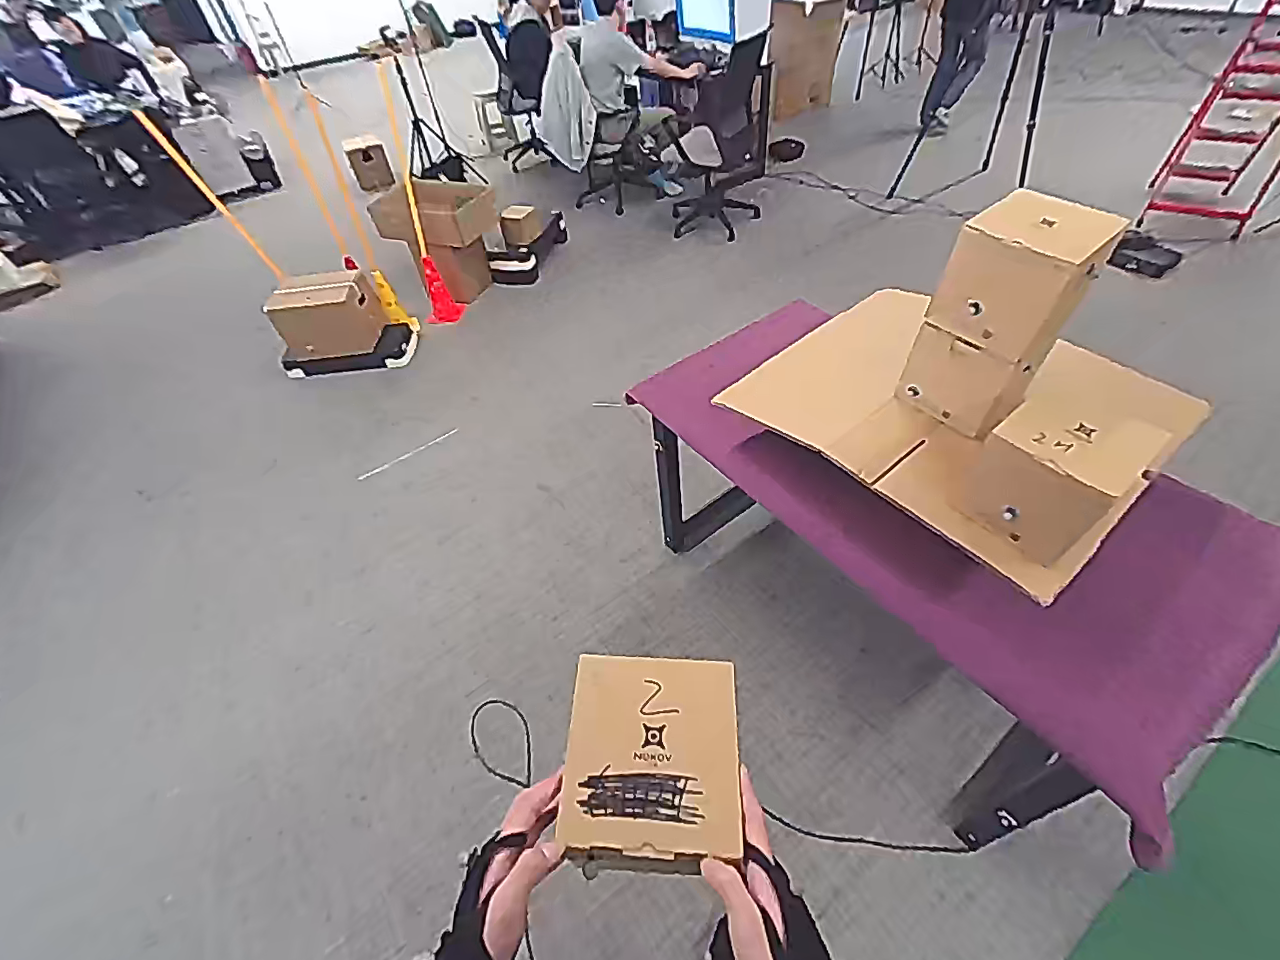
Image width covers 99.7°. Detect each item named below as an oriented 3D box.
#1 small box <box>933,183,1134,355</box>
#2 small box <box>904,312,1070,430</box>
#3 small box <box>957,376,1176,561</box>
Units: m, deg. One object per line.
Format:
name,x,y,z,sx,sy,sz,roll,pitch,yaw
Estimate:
small box,0.600,-0.328,0.848,0.179,0.176,0.168,-35,57,-21
small box,0.604,-0.220,0.970,0.179,0.176,0.168,-34,56,-22
small box,0.612,-0.016,0.800,0.179,0.176,0.168,-33,55,-21
